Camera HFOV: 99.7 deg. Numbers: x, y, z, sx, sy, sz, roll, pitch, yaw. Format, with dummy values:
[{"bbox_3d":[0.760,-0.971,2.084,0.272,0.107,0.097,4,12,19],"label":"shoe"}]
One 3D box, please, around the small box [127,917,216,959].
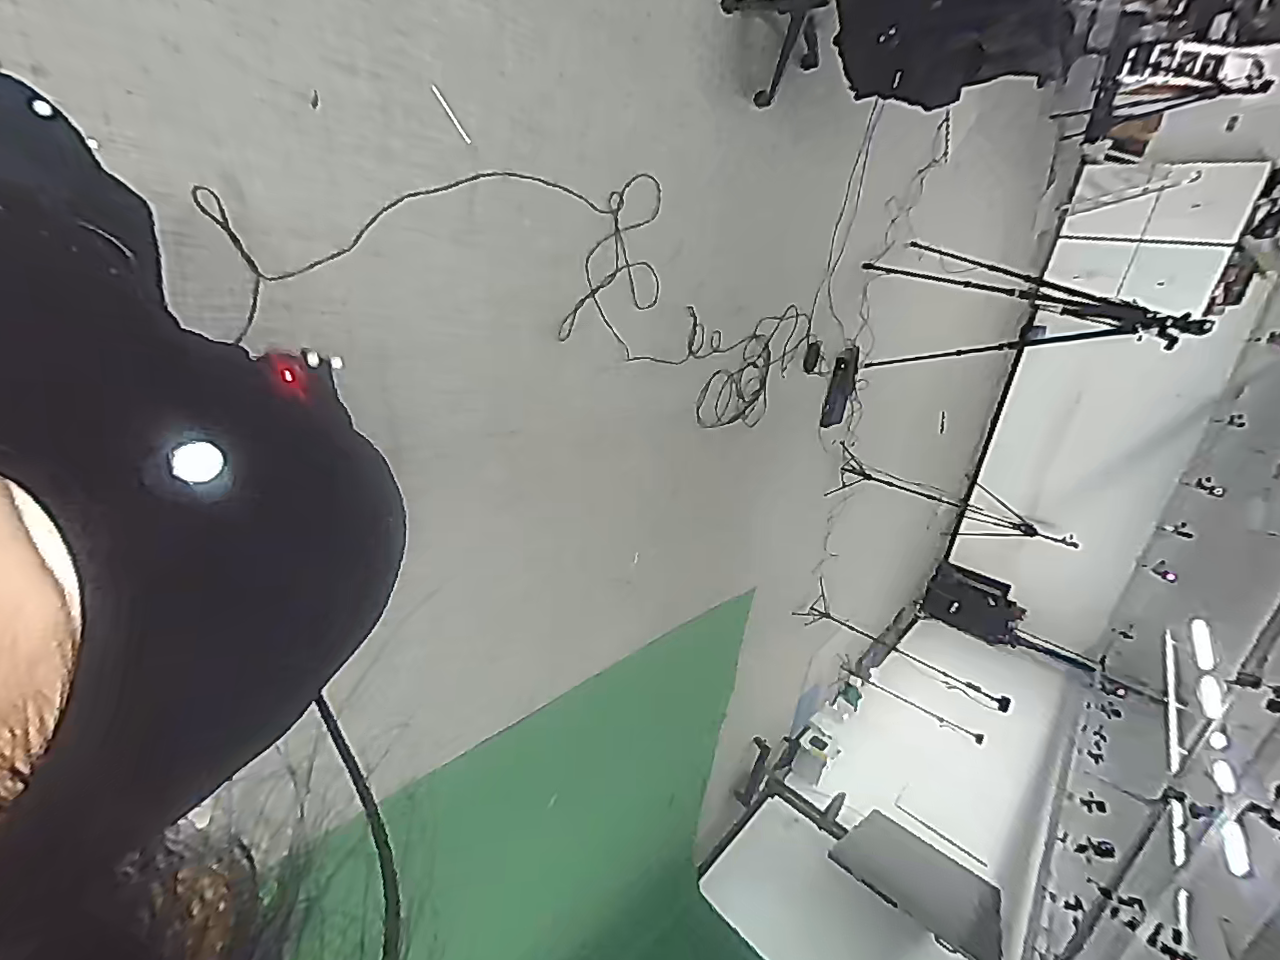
[{"bbox_3d":[-1.230,1.327,1.432,0.168,0.176,0.179,-15,118,-46],"label":"small box"}]
